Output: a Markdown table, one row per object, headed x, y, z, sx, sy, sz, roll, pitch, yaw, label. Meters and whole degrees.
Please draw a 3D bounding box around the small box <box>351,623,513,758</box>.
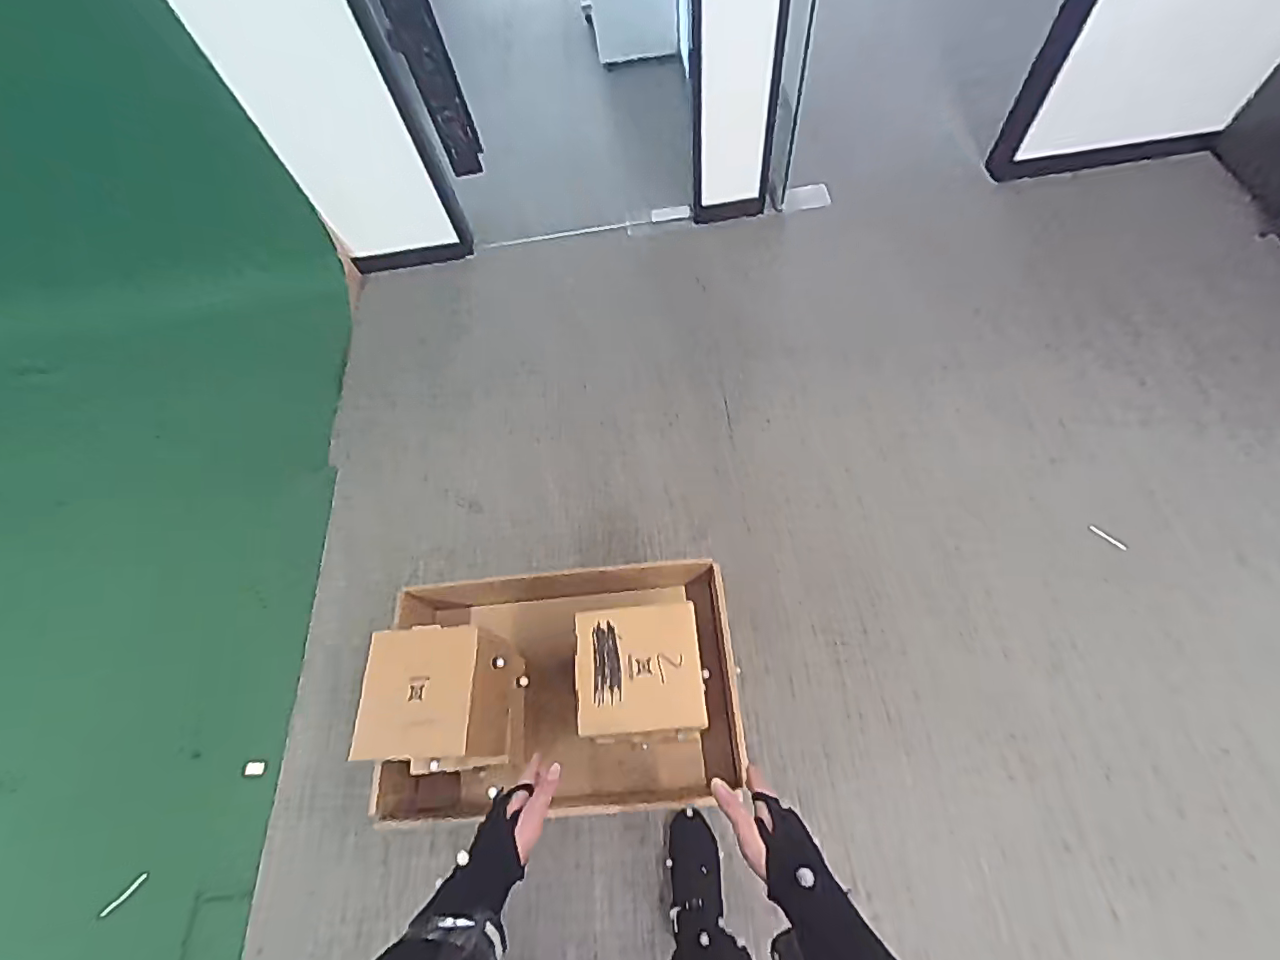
| x | y | z | sx | sy | sz | roll | pitch | yaw | label |
| --- | --- | --- | --- | --- | --- | --- | --- | --- | --- |
| -0.303 | 0.328 | 0.833 | 0.168 | 0.176 | 0.179 | -4 | 63 | 6 | small box |
